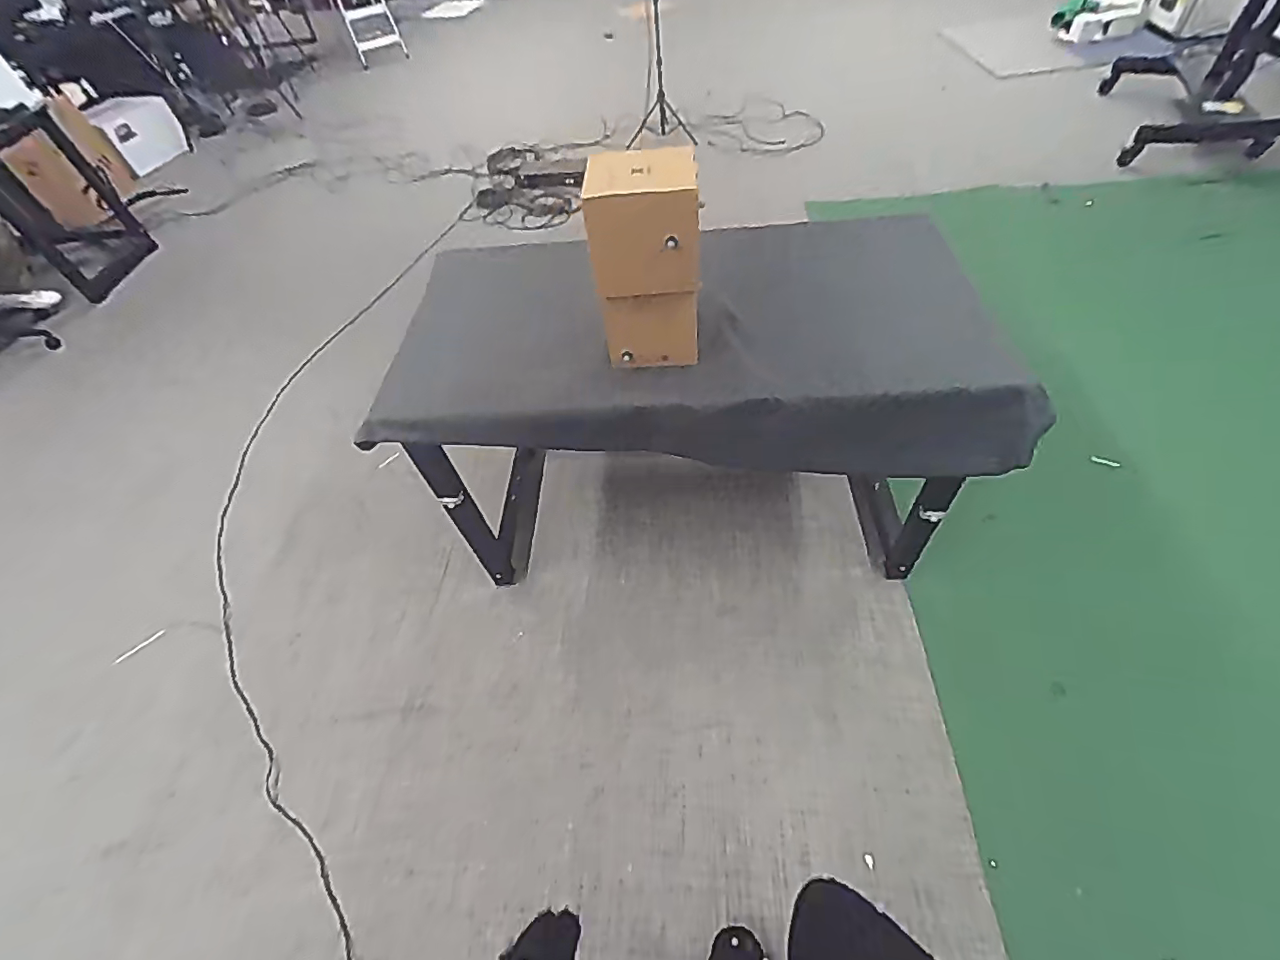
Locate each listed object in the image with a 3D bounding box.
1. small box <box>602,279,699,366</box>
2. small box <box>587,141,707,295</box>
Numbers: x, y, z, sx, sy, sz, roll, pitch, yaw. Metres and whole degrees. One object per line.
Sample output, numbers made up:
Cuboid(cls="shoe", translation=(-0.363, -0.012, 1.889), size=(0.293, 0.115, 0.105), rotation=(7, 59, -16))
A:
Cuboid(cls="small box", translation=(0.029, -0.332, 1.041), size=(0.168, 0.176, 0.179), rotation=(-1, 51, 6))
Cuboid(cls="small box", translation=(0.012, -0.426, 0.889), size=(0.179, 0.176, 0.168), rotation=(-5, 51, 2))
